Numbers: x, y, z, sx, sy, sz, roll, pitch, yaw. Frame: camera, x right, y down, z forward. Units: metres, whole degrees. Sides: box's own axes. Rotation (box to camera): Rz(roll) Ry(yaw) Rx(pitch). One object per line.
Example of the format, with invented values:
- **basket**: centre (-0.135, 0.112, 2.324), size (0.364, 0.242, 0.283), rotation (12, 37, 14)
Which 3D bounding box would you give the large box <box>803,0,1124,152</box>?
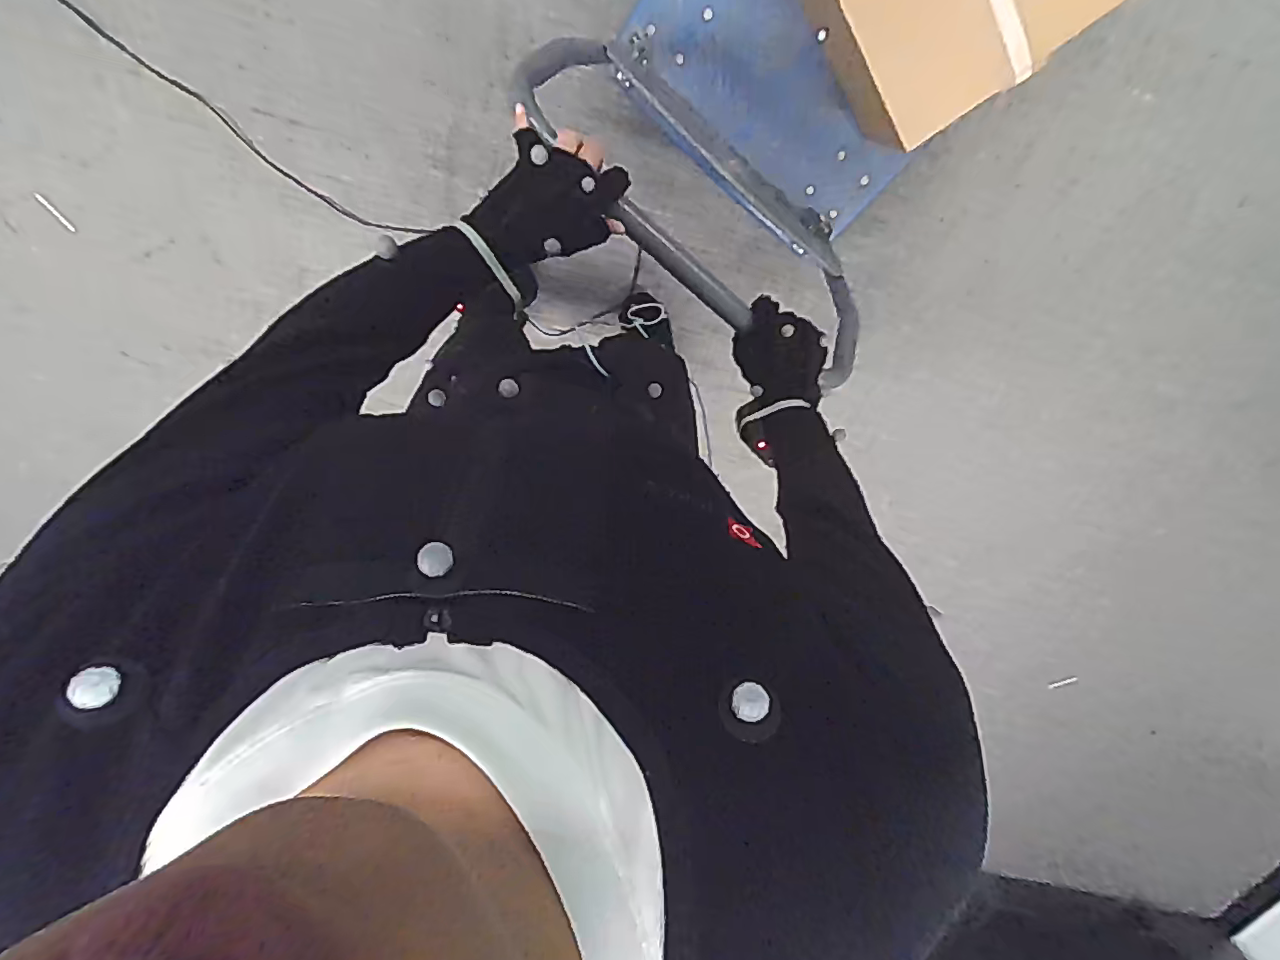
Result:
- **large box**: centre (0.420, -0.773, 0.786), size (0.320, 0.320, 0.408), rotation (-28, 115, 26)
